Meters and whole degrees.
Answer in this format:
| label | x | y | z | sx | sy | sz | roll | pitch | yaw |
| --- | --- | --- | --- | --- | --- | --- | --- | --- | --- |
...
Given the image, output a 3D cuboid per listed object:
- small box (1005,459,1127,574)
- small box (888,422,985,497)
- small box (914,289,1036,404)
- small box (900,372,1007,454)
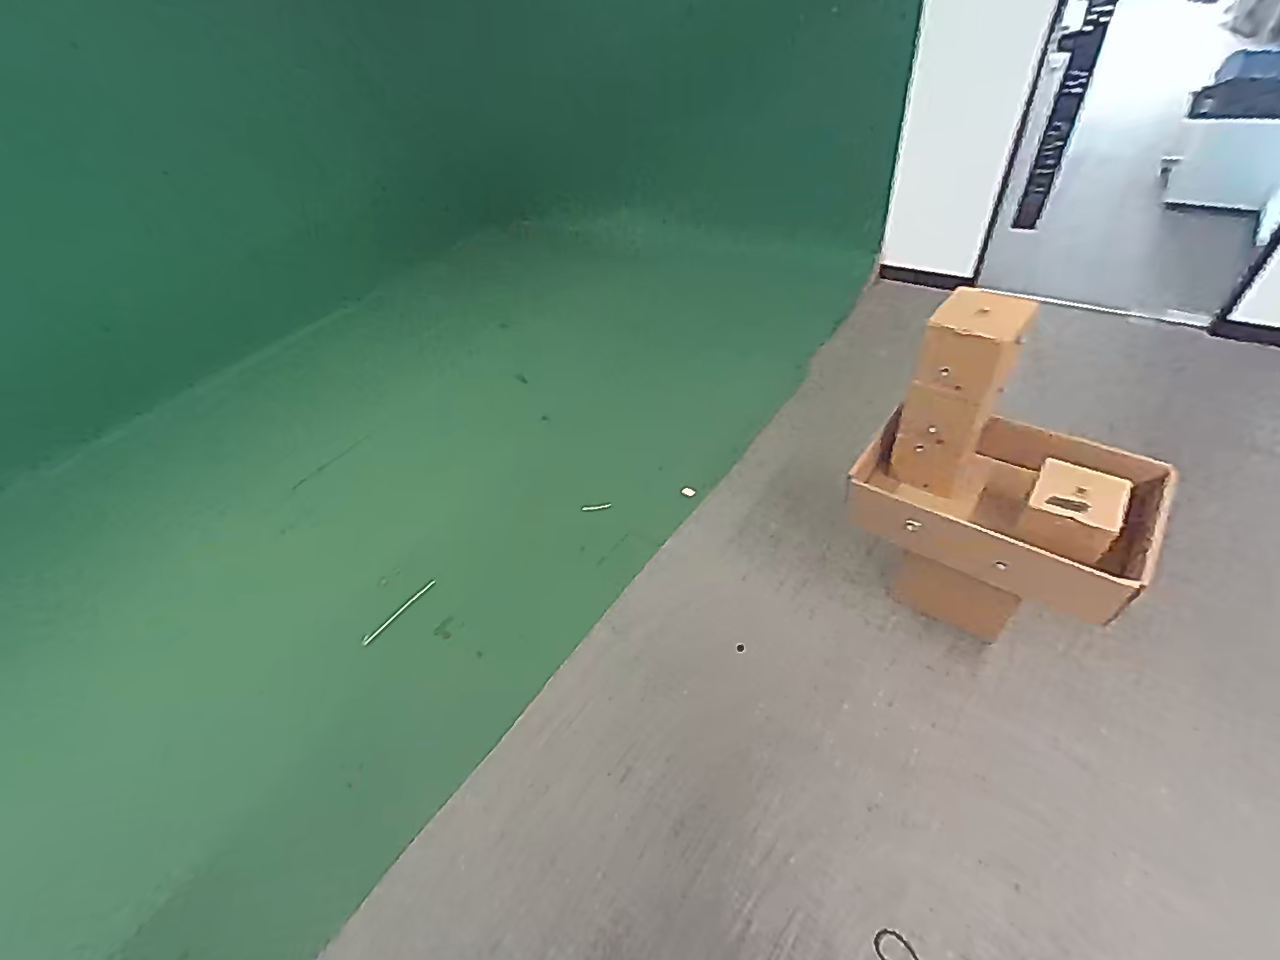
| label | x | y | z | sx | sy | sz | roll | pitch | yaw |
| --- | --- | --- | --- | --- | --- | --- | --- | --- | --- |
| small box | 0.990 | 0.088 | 1.269 | 0.168 | 0.176 | 0.179 | 25 | 56 | 30 |
| small box | 0.802 | -0.087 | 1.475 | 0.168 | 0.176 | 0.179 | 28 | 58 | 31 |
| small box | 0.756 | -0.306 | 1.238 | 0.168 | 0.176 | 0.179 | 31 | 60 | 33 |
| small box | 0.778 | -0.197 | 1.357 | 0.168 | 0.176 | 0.179 | 29 | 59 | 33 |
